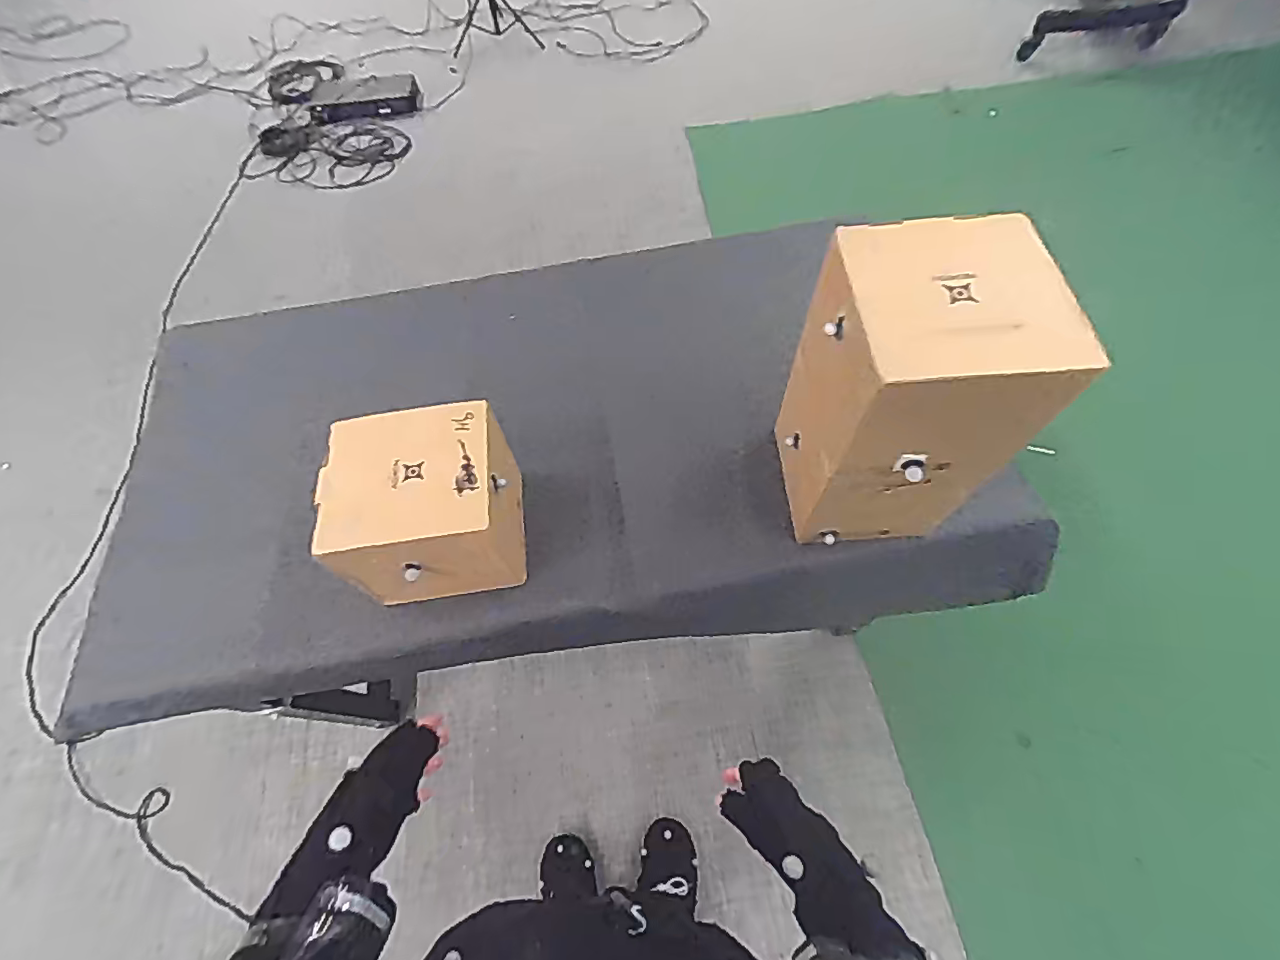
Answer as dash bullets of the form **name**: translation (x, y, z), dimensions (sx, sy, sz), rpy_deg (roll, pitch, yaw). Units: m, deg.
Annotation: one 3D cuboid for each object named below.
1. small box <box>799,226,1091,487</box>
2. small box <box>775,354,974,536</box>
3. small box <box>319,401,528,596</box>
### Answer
- **small box**: translation (0.259, -0.110, 0.516), dimensions (0.168, 0.176, 0.179), rpy_deg (-3, 63, 3)
- **small box**: translation (0.269, -0.038, 0.661), dimensions (0.168, 0.176, 0.179), rpy_deg (-3, 61, 1)
- **small box**: translation (-0.241, 0.030, 0.650), dimensions (0.179, 0.176, 0.168), rpy_deg (-8, 60, -2)
